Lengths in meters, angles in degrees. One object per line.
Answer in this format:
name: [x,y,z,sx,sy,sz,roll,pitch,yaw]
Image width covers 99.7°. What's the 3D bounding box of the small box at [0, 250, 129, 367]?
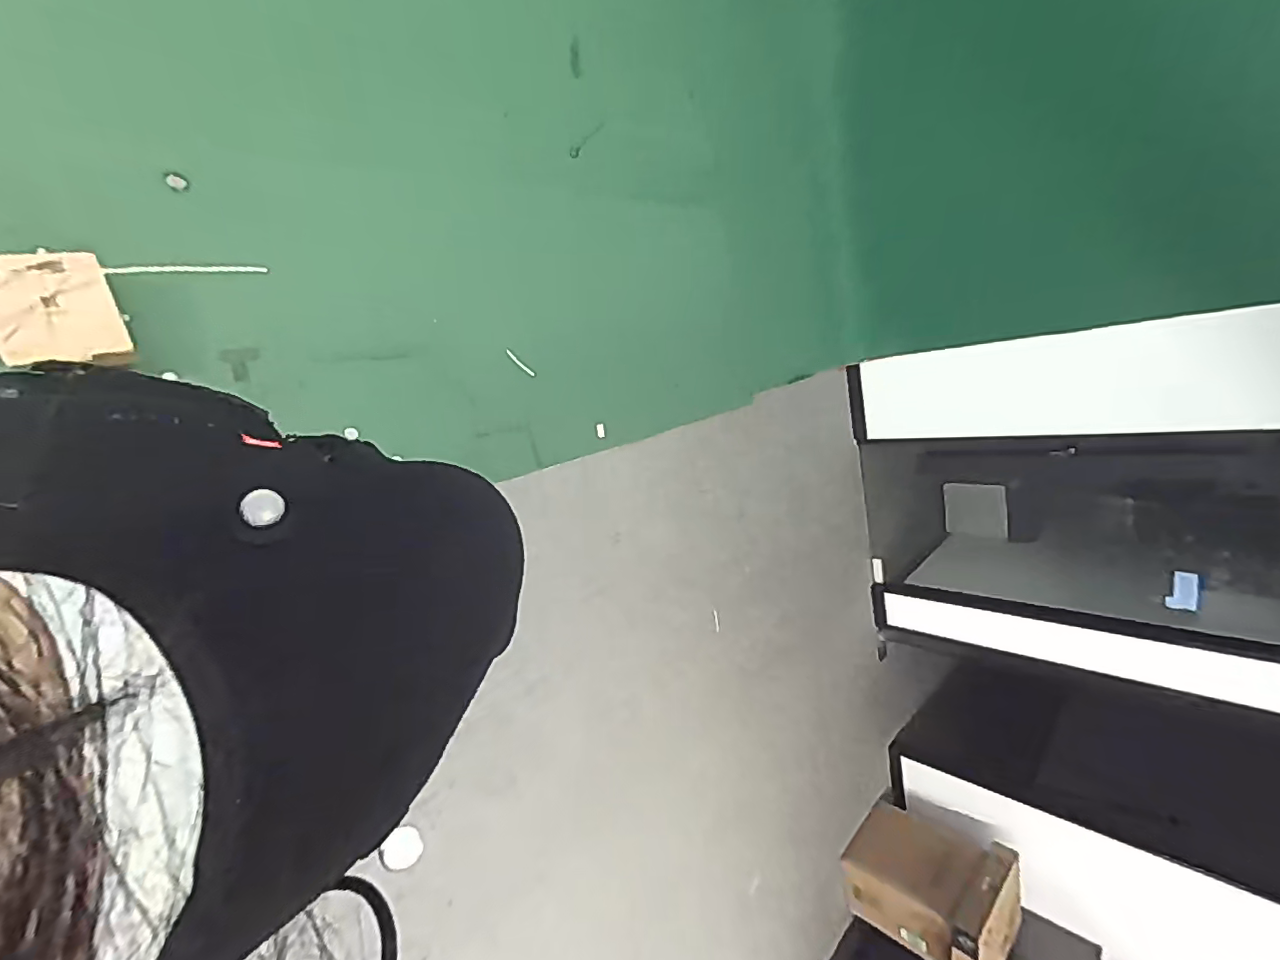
small box: [-1.055,-0.302,0.970,0.168,0.176,0.179,-23,109,-39]
